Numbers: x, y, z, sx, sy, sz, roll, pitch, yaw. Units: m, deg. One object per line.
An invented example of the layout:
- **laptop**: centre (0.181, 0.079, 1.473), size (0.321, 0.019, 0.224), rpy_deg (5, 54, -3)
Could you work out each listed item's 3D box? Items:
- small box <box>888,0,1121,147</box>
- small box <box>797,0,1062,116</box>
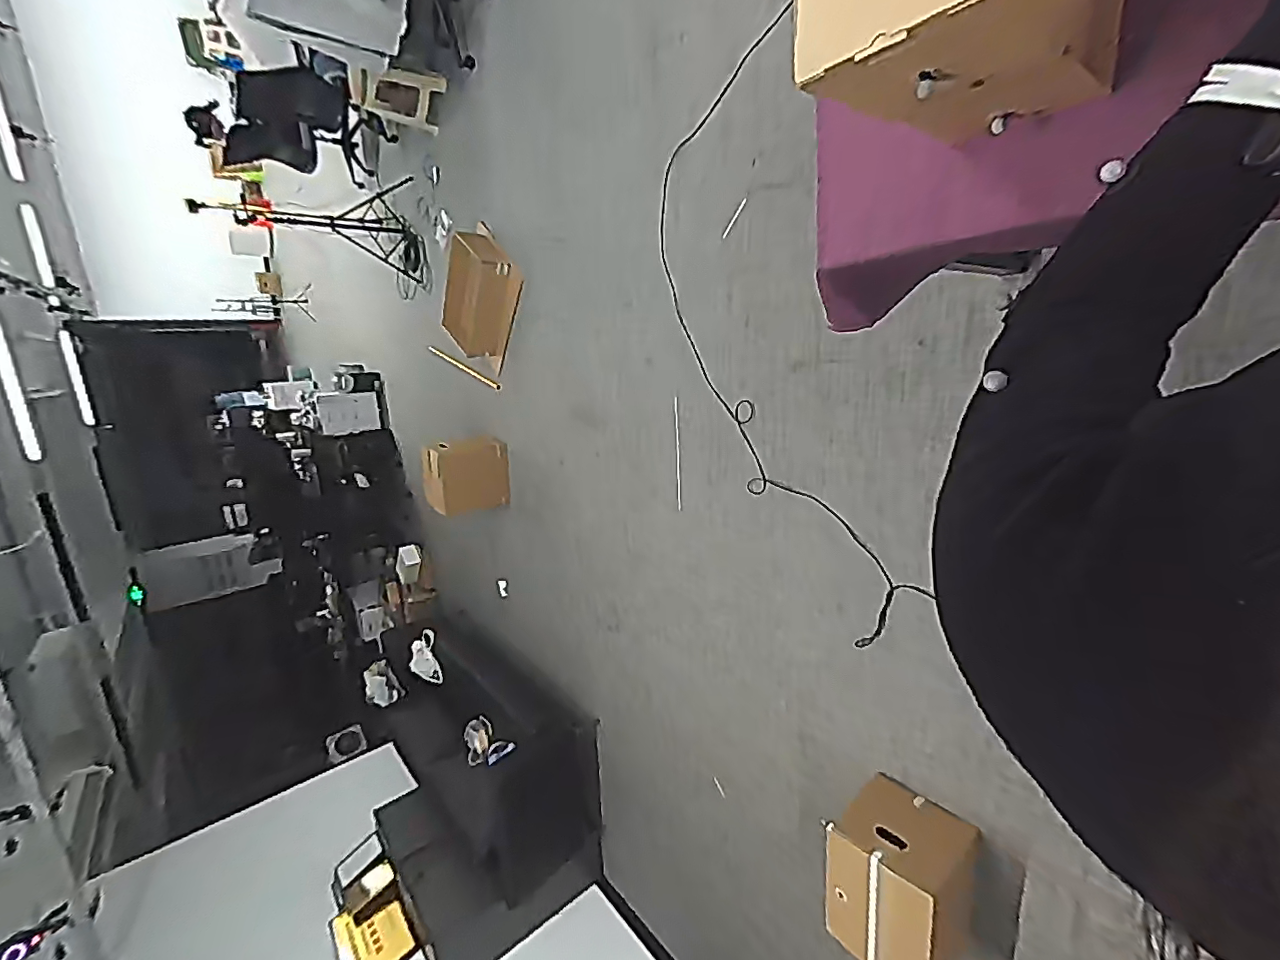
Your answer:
- **small box**: centre (0.387, -0.489, 0.576), size (0.168, 0.176, 0.179), rpy_deg (13, 111, 49)
- **small box**: centre (0.259, -0.452, 0.480), size (0.168, 0.176, 0.179), rpy_deg (13, 111, 48)
